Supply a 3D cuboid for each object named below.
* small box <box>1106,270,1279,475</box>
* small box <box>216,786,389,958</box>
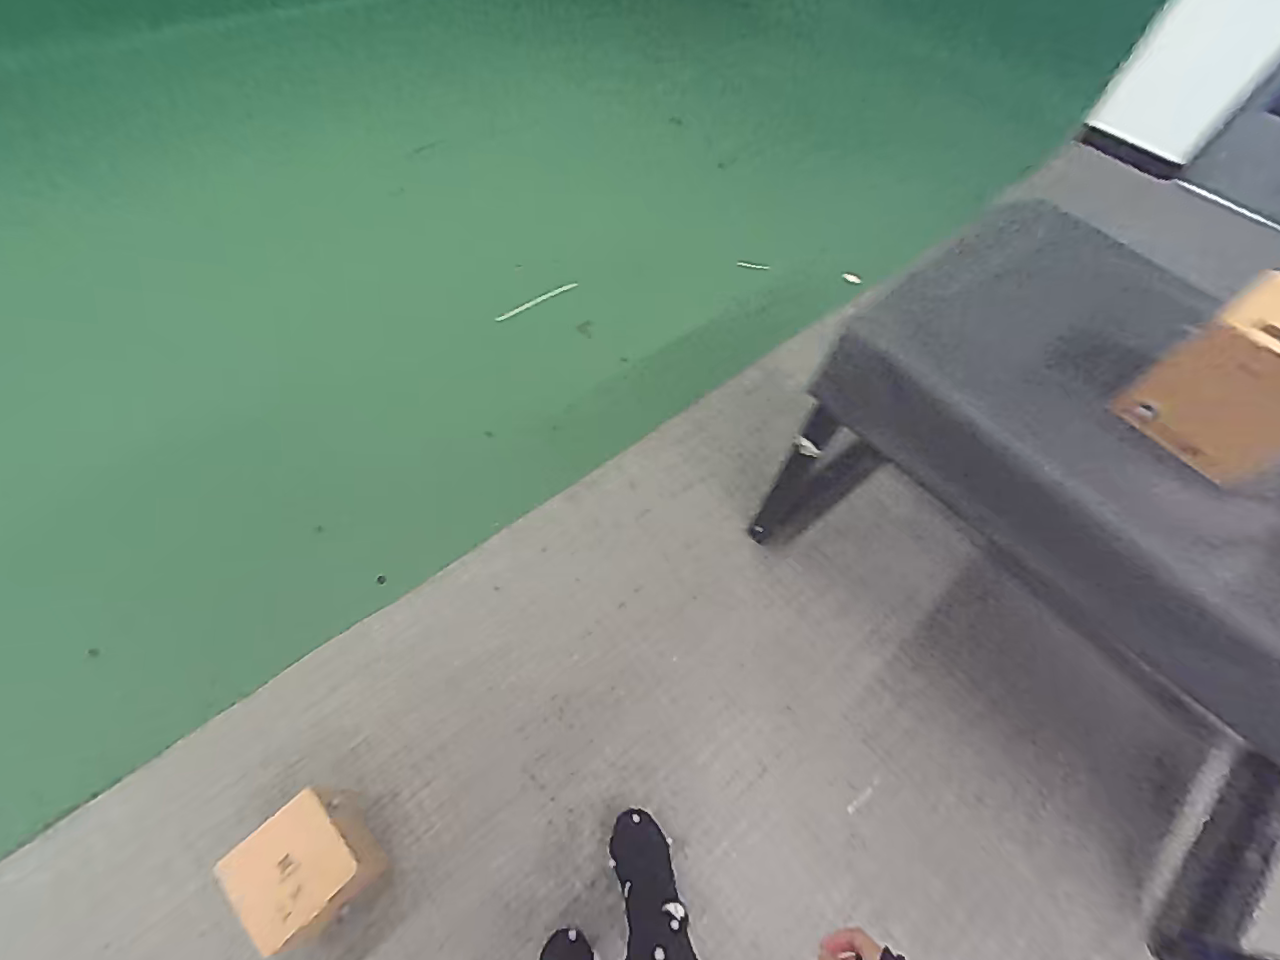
[{"bbox_3d":[0.781,-0.136,0.714,0.179,0.176,0.168,-31,66,-22],"label":"small box"},{"bbox_3d":[-0.584,0.679,0.955,0.179,0.176,0.168,41,64,19],"label":"small box"}]
